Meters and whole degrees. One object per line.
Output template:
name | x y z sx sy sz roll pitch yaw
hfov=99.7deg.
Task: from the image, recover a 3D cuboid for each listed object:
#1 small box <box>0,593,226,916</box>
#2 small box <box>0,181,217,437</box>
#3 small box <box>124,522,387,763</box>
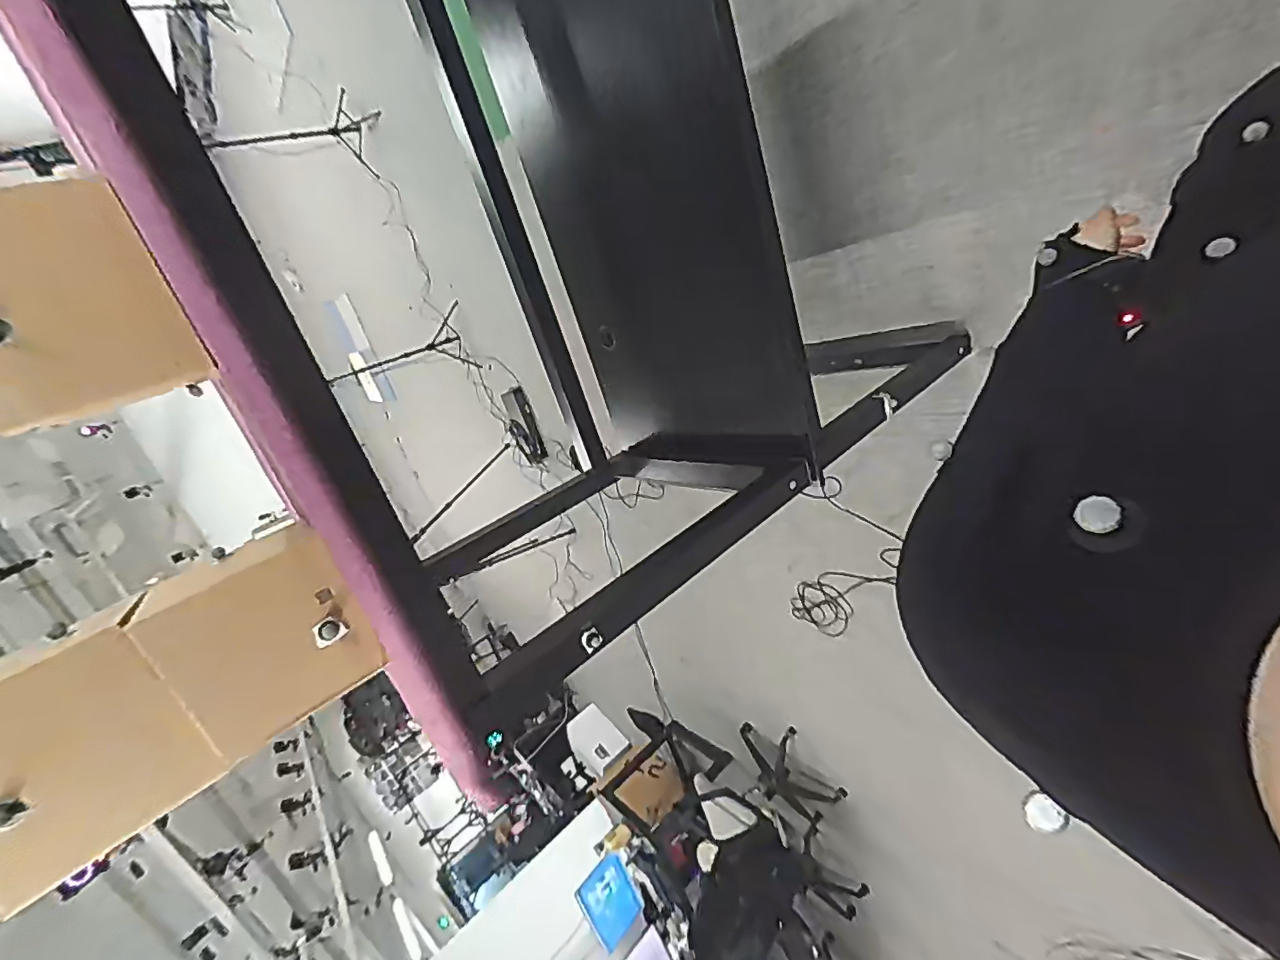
small box | -0.527 0.237 0.515 0.168 0.176 0.179 0 117 54
small box | -0.537 -0.156 0.514 0.168 0.176 0.179 9 123 53
small box | -0.407 0.159 0.598 0.179 0.176 0.168 1 117 53
